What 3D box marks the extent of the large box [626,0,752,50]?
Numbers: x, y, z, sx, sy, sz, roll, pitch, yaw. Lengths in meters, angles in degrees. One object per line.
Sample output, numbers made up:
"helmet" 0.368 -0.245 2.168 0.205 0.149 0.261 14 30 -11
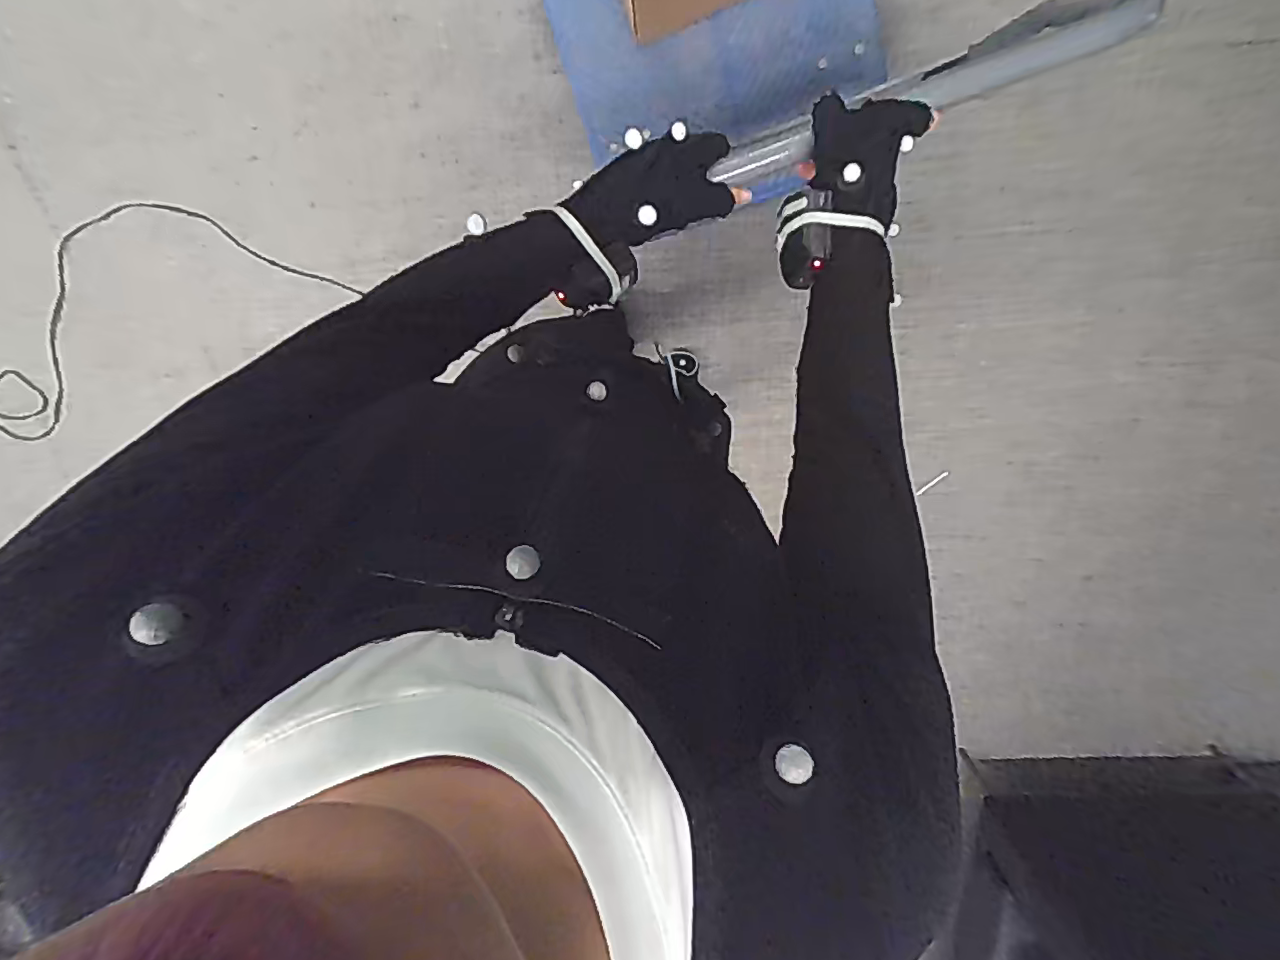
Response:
"large box" 0.131 -0.962 0.821 0.408 0.320 0.320 -18 108 10
